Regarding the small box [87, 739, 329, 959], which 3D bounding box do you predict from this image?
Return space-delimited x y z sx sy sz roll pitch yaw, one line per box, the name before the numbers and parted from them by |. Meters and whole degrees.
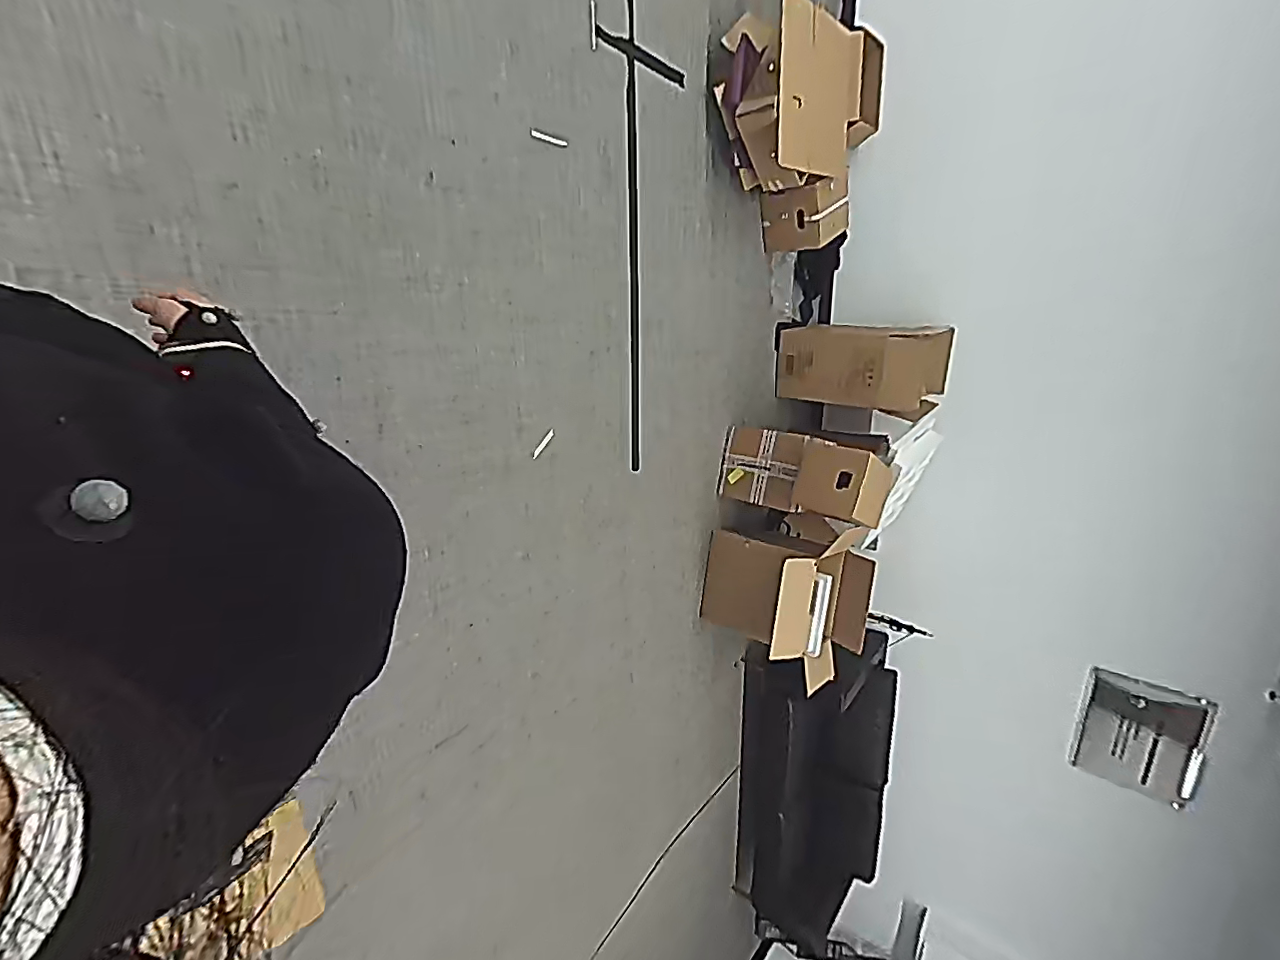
small box | -0.491 0.432 0.620 0.168 0.176 0.179 -20 115 -46
